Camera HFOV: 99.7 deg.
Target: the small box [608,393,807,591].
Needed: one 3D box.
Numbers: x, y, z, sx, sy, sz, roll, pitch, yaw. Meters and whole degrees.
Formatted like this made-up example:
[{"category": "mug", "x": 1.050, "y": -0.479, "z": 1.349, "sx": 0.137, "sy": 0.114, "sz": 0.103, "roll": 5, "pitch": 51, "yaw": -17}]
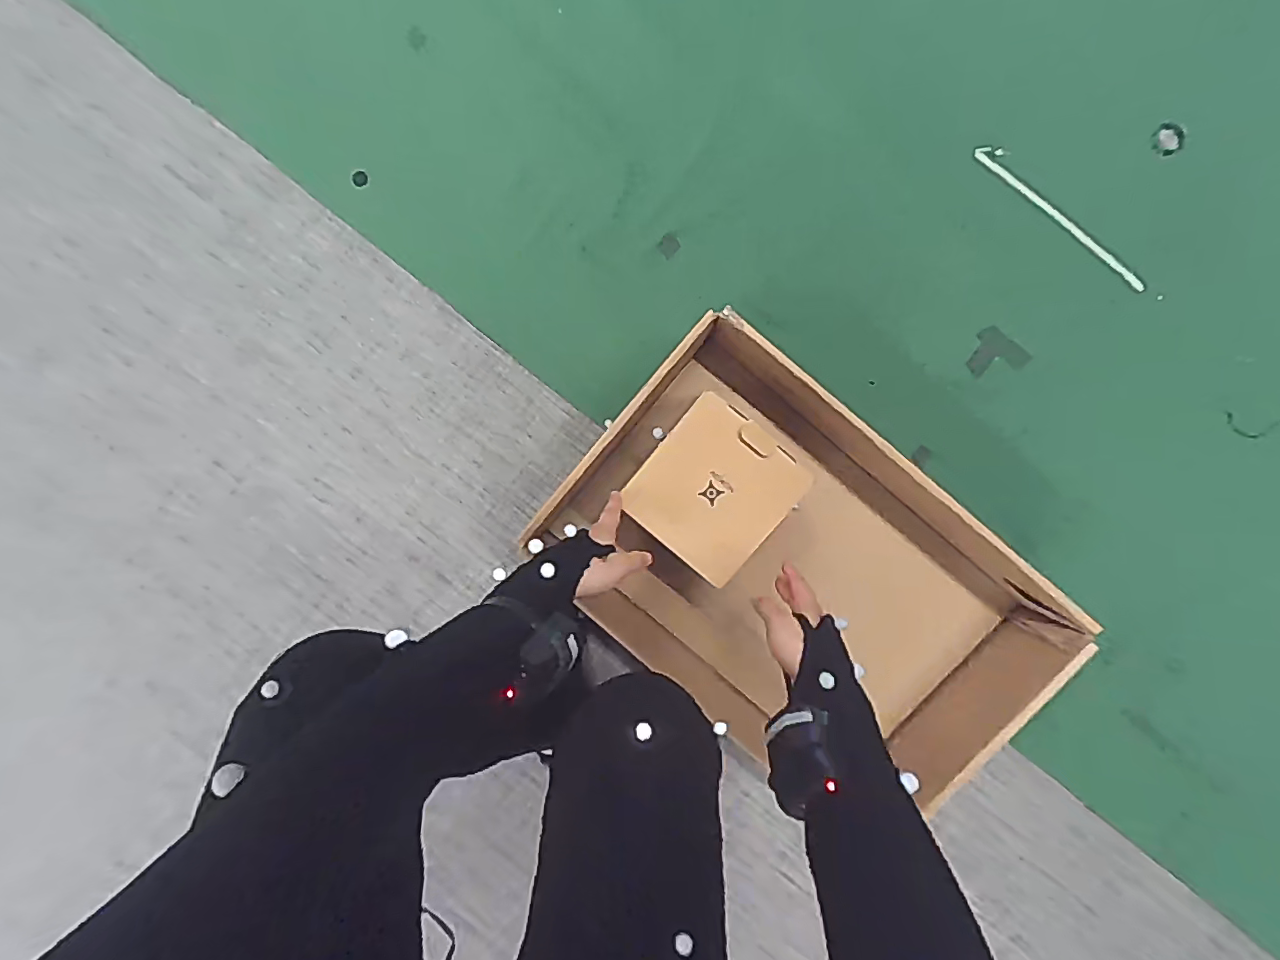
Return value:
[{"category": "small box", "x": 0.082, "y": 0.009, "z": 0.703, "sx": 0.168, "sy": 0.176, "sz": 0.179, "roll": 39, "pitch": 96, "yaw": -1}]
